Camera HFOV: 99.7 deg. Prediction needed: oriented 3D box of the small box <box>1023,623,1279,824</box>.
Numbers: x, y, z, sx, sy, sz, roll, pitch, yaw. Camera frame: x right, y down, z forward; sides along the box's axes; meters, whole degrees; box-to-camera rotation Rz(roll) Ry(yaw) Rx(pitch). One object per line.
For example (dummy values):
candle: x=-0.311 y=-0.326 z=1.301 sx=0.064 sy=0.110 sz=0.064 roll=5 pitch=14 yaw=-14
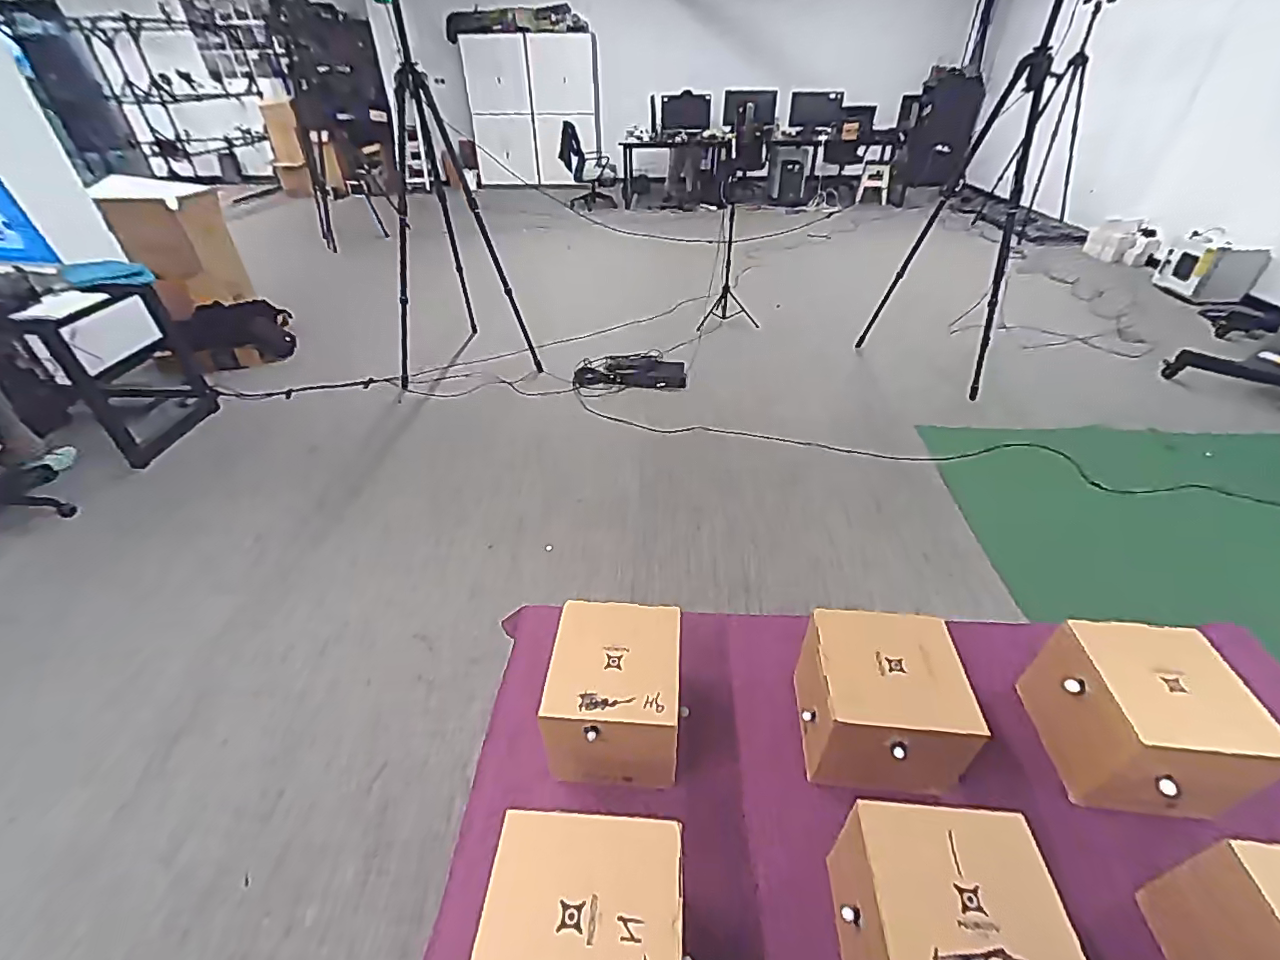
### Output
small box: x=0.643 y=0.312 z=0.697 sx=0.168 sy=0.176 sz=0.179 roll=3 pitch=36 yaw=7

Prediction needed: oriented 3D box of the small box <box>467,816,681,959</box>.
small box: x=-0.053 y=0.445 z=0.507 sx=0.179 sy=0.176 sz=0.168 roll=2 pitch=37 yaw=4

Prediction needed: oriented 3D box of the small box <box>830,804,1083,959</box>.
small box: x=0.294 y=0.450 z=0.524 sx=0.168 sy=0.176 sz=0.179 roll=2 pitch=36 yaw=5

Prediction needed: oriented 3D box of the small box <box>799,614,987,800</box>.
small box: x=0.316 y=0.302 z=0.724 sx=0.179 sy=0.176 sz=0.168 roll=3 pitch=38 yaw=6

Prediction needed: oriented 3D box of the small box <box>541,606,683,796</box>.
small box: x=-0.029 y=0.298 z=0.741 sx=0.168 sy=0.176 sz=0.179 roll=2 pitch=36 yaw=4
